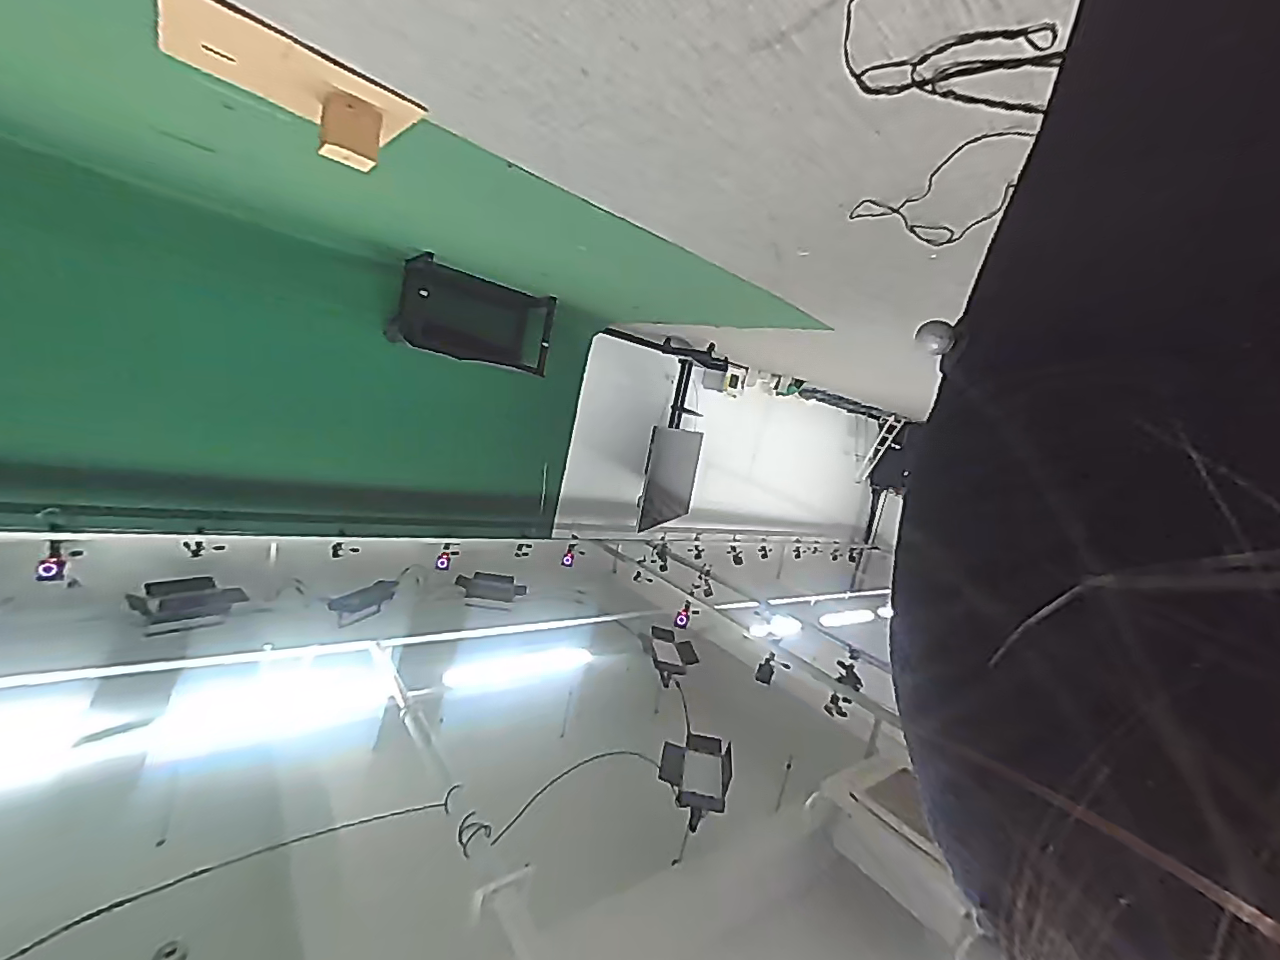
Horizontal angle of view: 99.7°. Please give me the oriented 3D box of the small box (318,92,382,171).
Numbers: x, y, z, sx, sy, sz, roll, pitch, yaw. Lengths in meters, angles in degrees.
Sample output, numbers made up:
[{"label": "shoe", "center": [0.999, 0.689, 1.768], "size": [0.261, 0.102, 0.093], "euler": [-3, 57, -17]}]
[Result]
[{"label": "small box", "center": [-1.054, -1.263, 1.966], "size": [0.168, 0.176, 0.179], "euler": [4, -169, -41]}]
